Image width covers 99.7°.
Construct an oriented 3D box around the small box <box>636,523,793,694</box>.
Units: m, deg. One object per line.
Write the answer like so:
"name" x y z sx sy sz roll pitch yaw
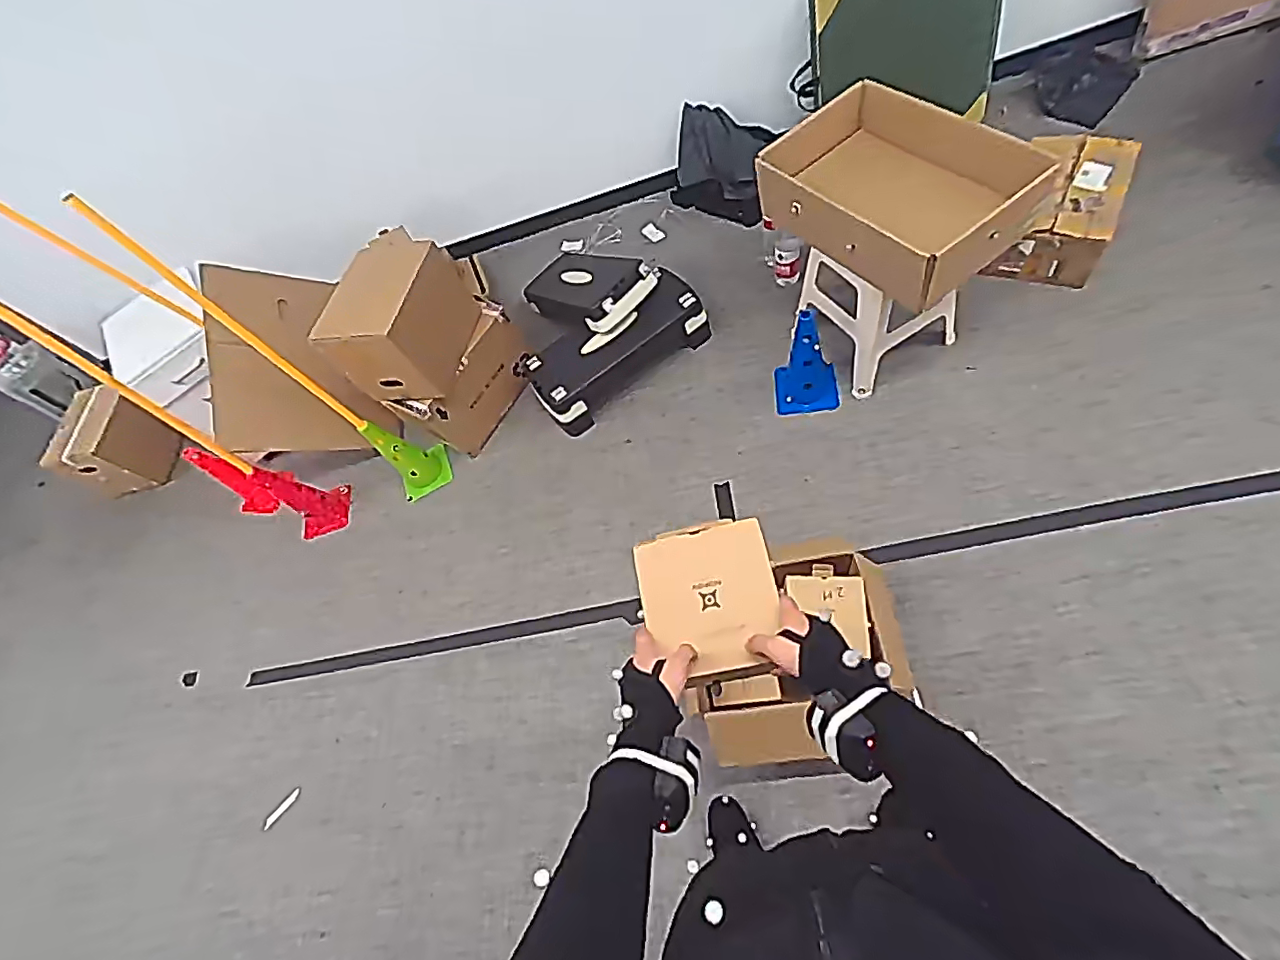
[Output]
"small box" 0.098 0.181 0.735 0.168 0.176 0.179 -13 63 5
